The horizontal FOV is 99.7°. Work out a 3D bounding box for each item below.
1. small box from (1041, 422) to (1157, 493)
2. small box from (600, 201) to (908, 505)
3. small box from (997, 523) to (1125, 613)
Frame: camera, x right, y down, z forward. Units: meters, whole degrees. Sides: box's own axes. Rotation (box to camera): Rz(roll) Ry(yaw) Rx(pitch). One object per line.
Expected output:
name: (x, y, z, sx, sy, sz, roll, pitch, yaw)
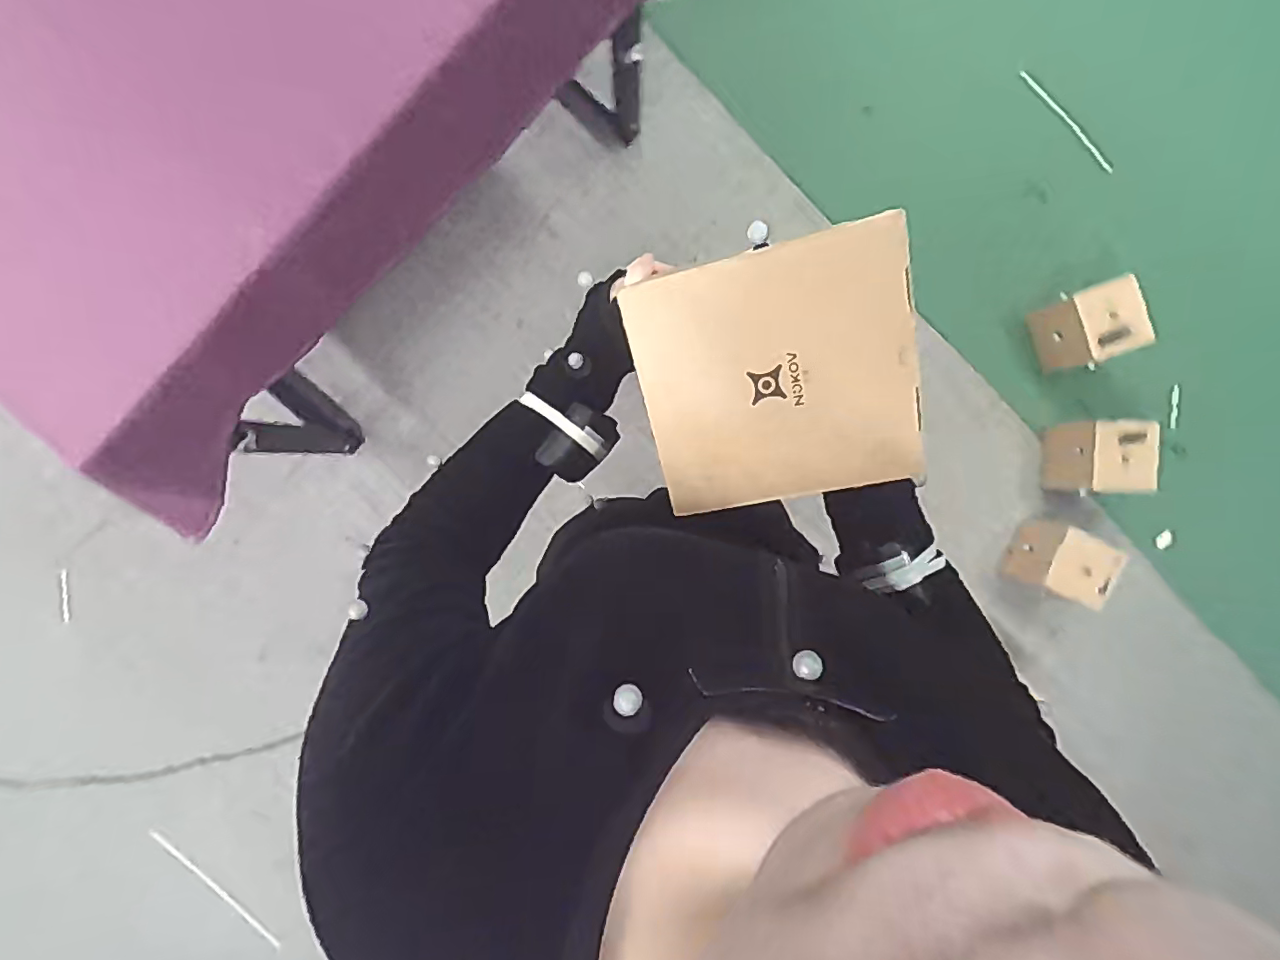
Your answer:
small box: (1.201, -0.059, 1.427, 0.168, 0.176, 0.179, 1, 93, -2)
small box: (0.088, -0.100, 0.428, 0.179, 0.176, 0.168, -12, 110, 13)
small box: (1.106, 0.225, 1.437, 0.179, 0.176, 0.168, 28, 91, -2)
